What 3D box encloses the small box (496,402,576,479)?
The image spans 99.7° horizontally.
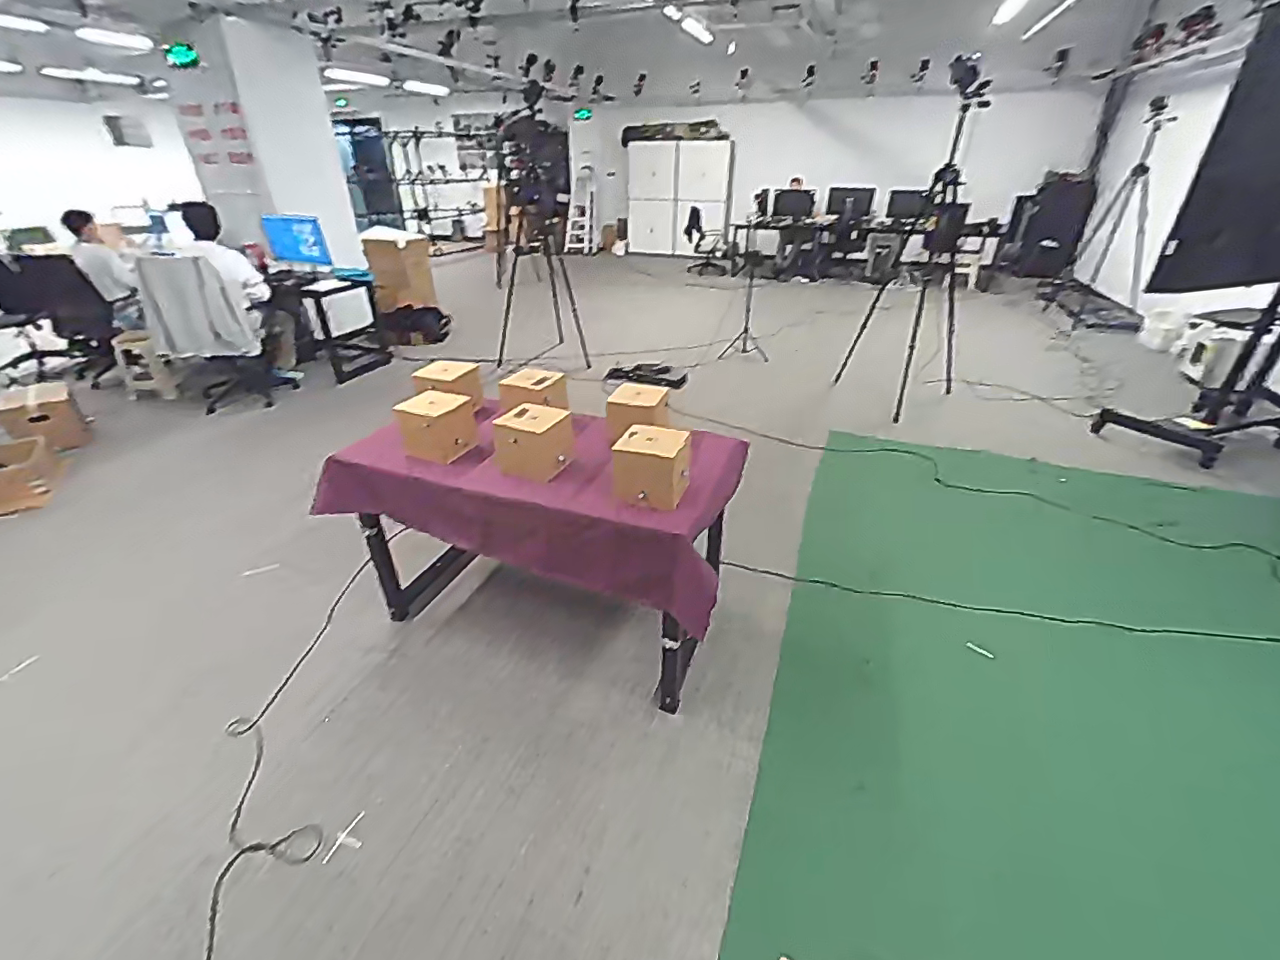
[{"bbox_3d":[-0.313,-0.121,1.654,0.179,0.176,0.168,14,33,21],"label":"small box"}]

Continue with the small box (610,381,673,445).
[{"bbox_3d":[0.005,-0.216,1.808,0.168,0.176,0.179,9,32,17],"label":"small box"}]

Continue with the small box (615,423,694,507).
[{"bbox_3d":[0.042,-0.041,1.512,0.179,0.176,0.168,11,32,18],"label":"small box"}]

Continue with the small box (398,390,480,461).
[{"bbox_3d":[-0.646,-0.177,1.755,0.179,0.176,0.168,13,33,19],"label":"small box"}]
